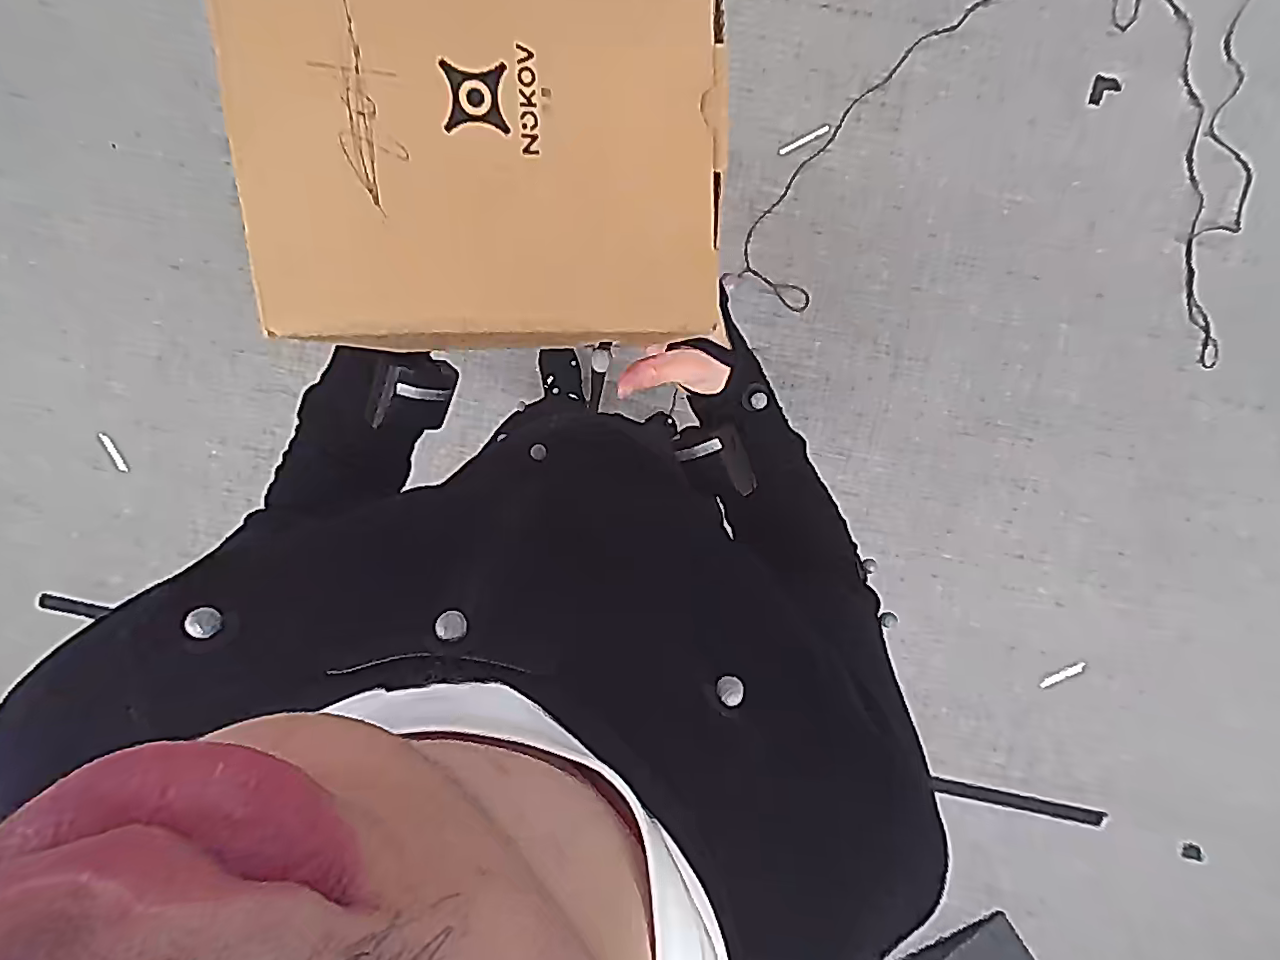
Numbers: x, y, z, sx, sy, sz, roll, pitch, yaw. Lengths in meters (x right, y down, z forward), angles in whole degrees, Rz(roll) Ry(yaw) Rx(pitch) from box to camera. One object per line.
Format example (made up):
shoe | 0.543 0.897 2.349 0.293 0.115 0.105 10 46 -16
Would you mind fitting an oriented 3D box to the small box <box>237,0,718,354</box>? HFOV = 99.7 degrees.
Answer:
small box | -0.066 -0.157 0.285 0.179 0.176 0.168 -3 100 -7
